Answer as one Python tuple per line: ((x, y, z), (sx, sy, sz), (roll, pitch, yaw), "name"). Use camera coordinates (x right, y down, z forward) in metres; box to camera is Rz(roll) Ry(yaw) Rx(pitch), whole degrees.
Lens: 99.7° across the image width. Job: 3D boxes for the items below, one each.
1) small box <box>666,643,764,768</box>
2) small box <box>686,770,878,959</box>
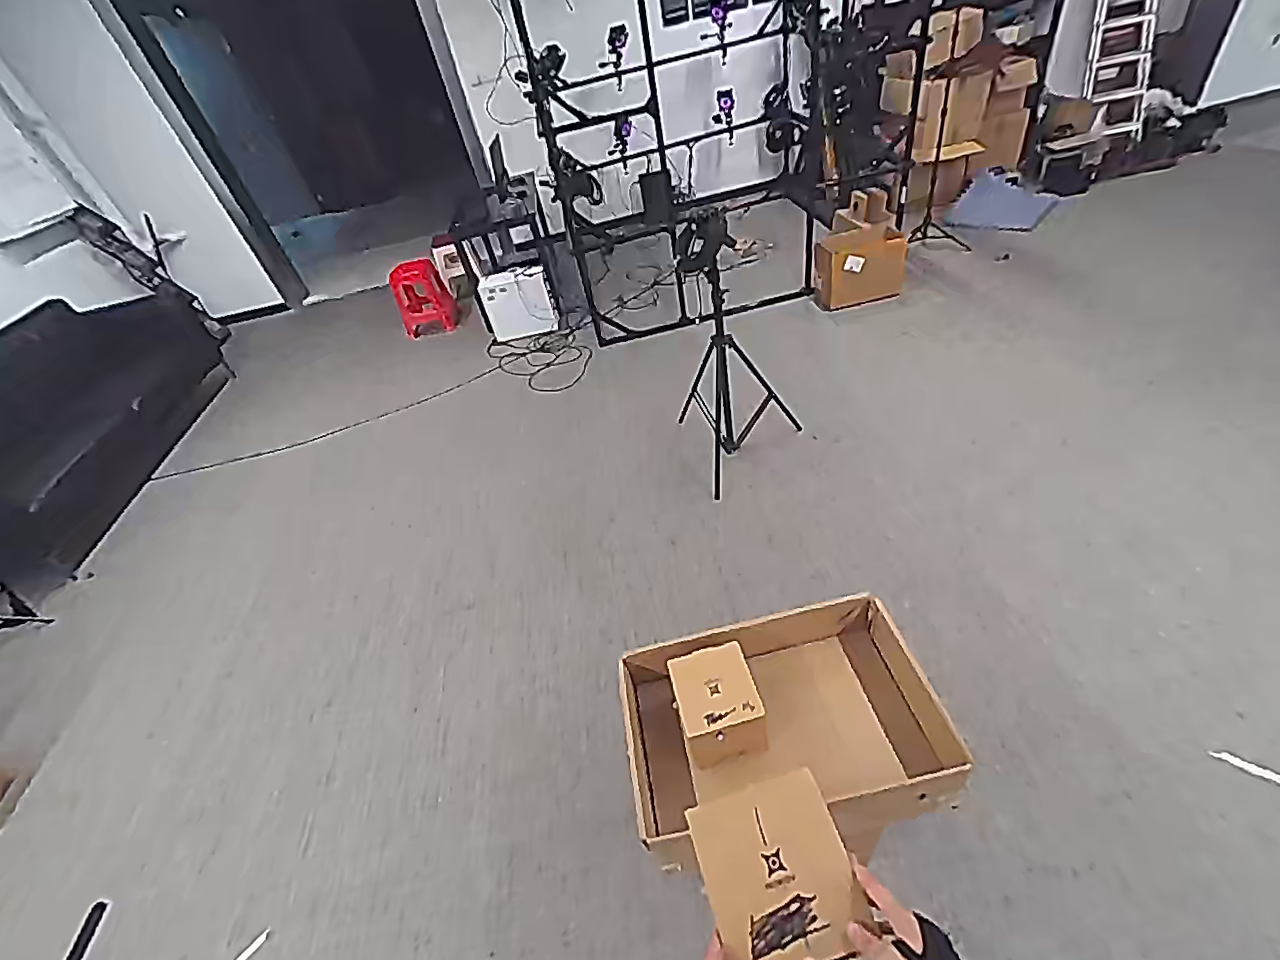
((0.164, 0.493, 1.185), (0.168, 0.176, 0.179), (-16, 41, -1), "small box")
((0.170, 0.491, 0.678), (0.168, 0.176, 0.179), (-19, 52, 0), "small box")
